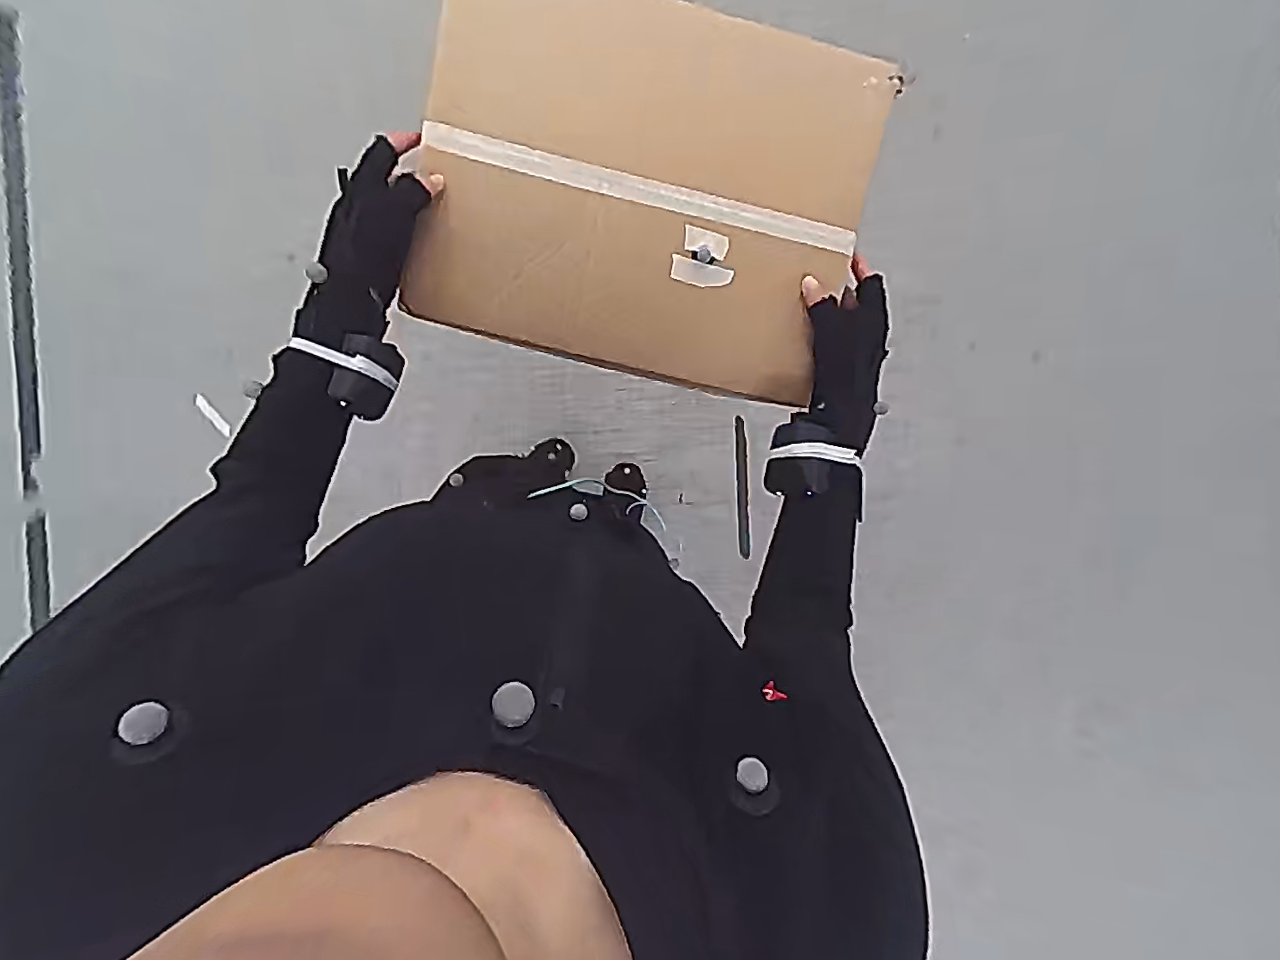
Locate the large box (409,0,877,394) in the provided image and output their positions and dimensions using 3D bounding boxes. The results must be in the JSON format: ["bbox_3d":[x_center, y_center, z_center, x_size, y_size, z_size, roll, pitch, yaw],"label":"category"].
[{"bbox_3d":[-0.010,-0.295,0.654,0.408,0.320,0.320,11,100,-5],"label":"large box"}]
